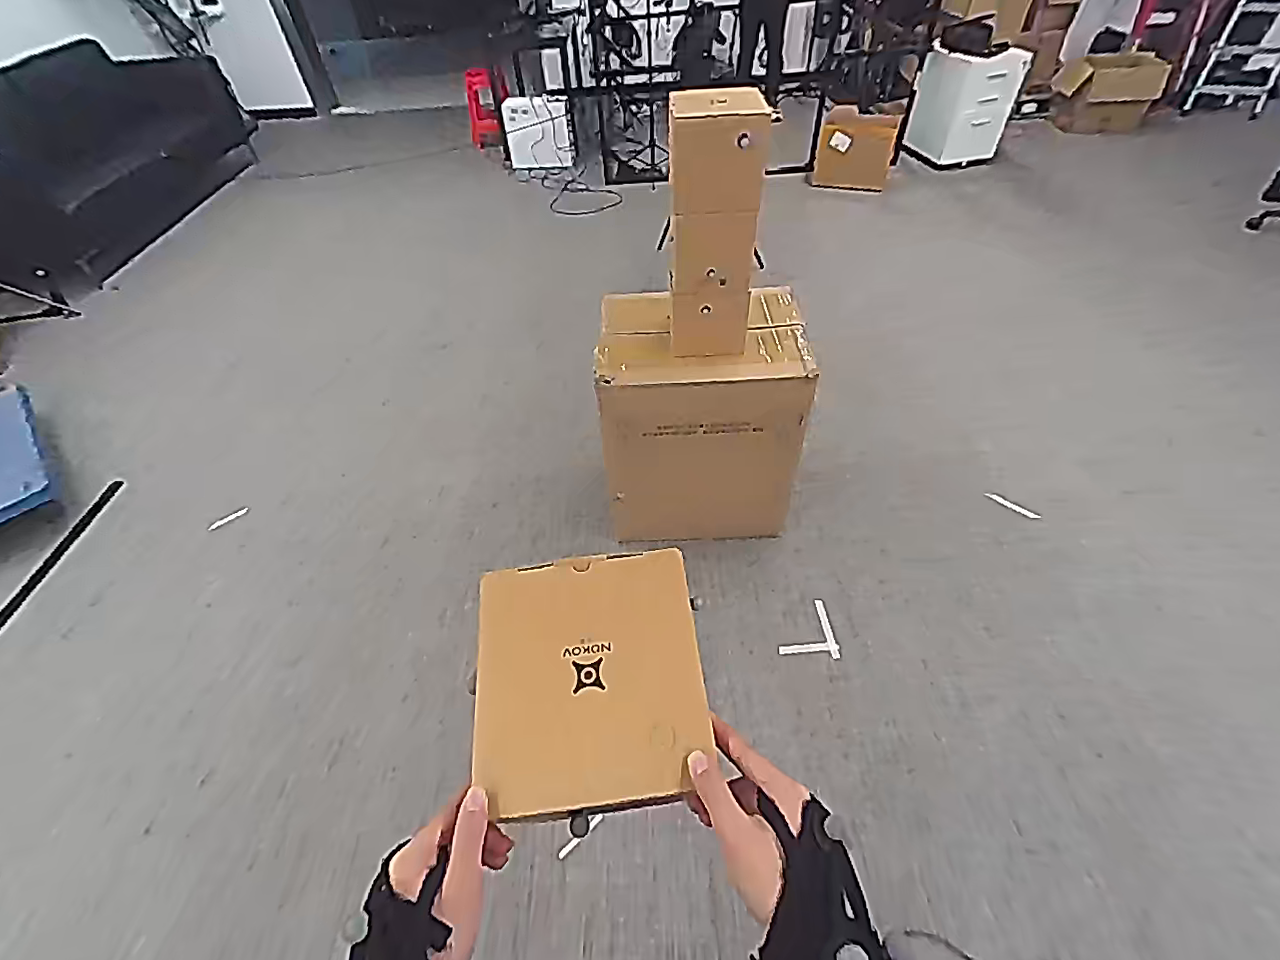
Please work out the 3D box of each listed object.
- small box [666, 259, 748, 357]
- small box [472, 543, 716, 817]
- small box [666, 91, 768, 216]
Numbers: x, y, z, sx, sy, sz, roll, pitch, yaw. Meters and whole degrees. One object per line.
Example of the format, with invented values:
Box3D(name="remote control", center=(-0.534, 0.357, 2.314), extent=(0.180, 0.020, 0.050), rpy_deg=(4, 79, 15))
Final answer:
Box3D(name="small box", center=(0.156, -0.411, 1.300), extent=(0.179, 0.176, 0.168), rpy_deg=(-2, 48, 1))
Box3D(name="small box", center=(-0.034, 0.178, 0.463), extent=(0.168, 0.176, 0.179), rpy_deg=(-8, 56, -2))
Box3D(name="small box", center=(0.141, -0.637, 1.061), extent=(0.179, 0.176, 0.168), rpy_deg=(-2, 48, 2))
